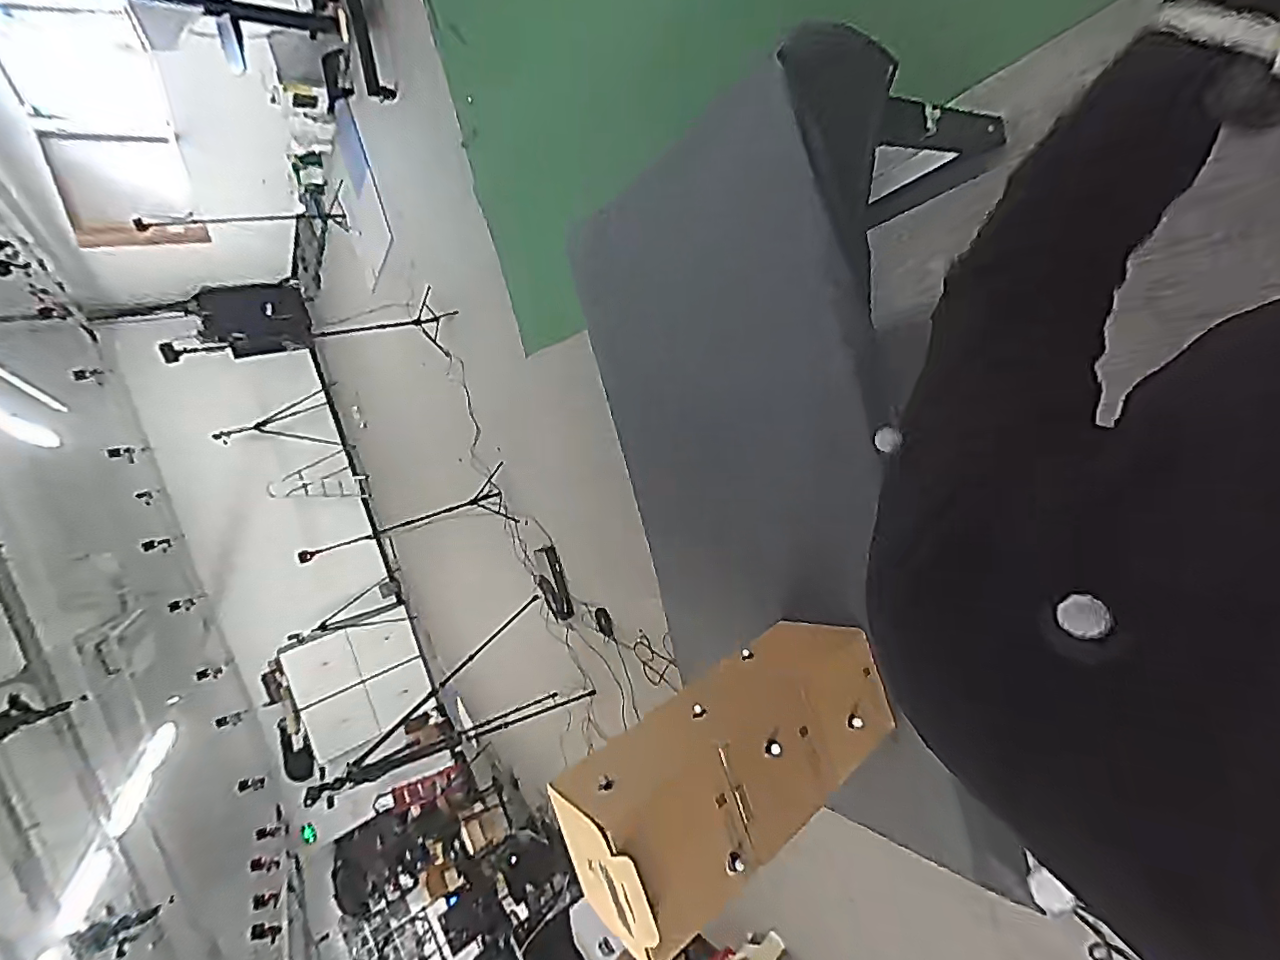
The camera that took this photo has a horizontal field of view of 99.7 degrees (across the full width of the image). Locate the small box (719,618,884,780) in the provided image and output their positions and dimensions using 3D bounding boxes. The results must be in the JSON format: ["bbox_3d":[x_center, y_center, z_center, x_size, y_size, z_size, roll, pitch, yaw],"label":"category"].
[{"bbox_3d":[0.264,0.335,0.869,0.179,0.176,0.168,-16,94,56],"label":"small box"}]

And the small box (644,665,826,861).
[{"bbox_3d":[0.140,0.384,0.776,0.179,0.176,0.168,-18,92,57],"label":"small box"}]

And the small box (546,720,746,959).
[{"bbox_3d":[0.011,0.432,0.686,0.179,0.176,0.168,-20,89,57],"label":"small box"}]
